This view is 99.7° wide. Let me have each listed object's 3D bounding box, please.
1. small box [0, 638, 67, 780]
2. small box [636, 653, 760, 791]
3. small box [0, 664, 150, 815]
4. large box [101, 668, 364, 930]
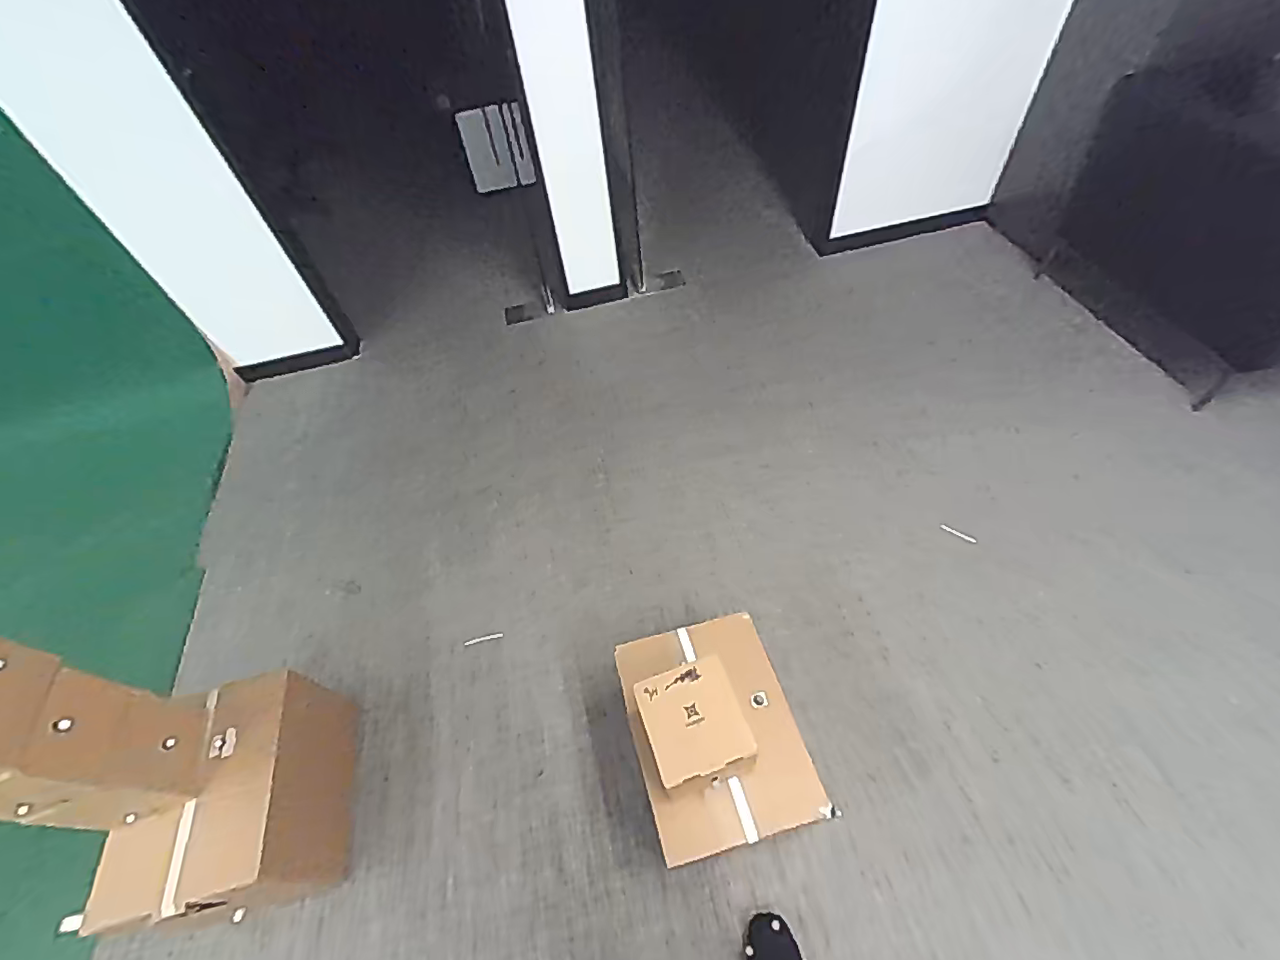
[{"bbox_3d":[-1.013,0.340,0.786,0.168,0.176,0.179,-16,54,0],"label":"small box"},{"bbox_3d":[0.106,0.445,0.981,0.168,0.176,0.179,-19,54,-5],"label":"small box"},{"bbox_3d":[-0.992,0.441,0.913,0.168,0.176,0.179,-17,54,-2],"label":"small box"},{"bbox_3d":[-0.853,0.704,1.209,0.320,0.320,0.408,-15,52,-4],"label":"large box"}]
